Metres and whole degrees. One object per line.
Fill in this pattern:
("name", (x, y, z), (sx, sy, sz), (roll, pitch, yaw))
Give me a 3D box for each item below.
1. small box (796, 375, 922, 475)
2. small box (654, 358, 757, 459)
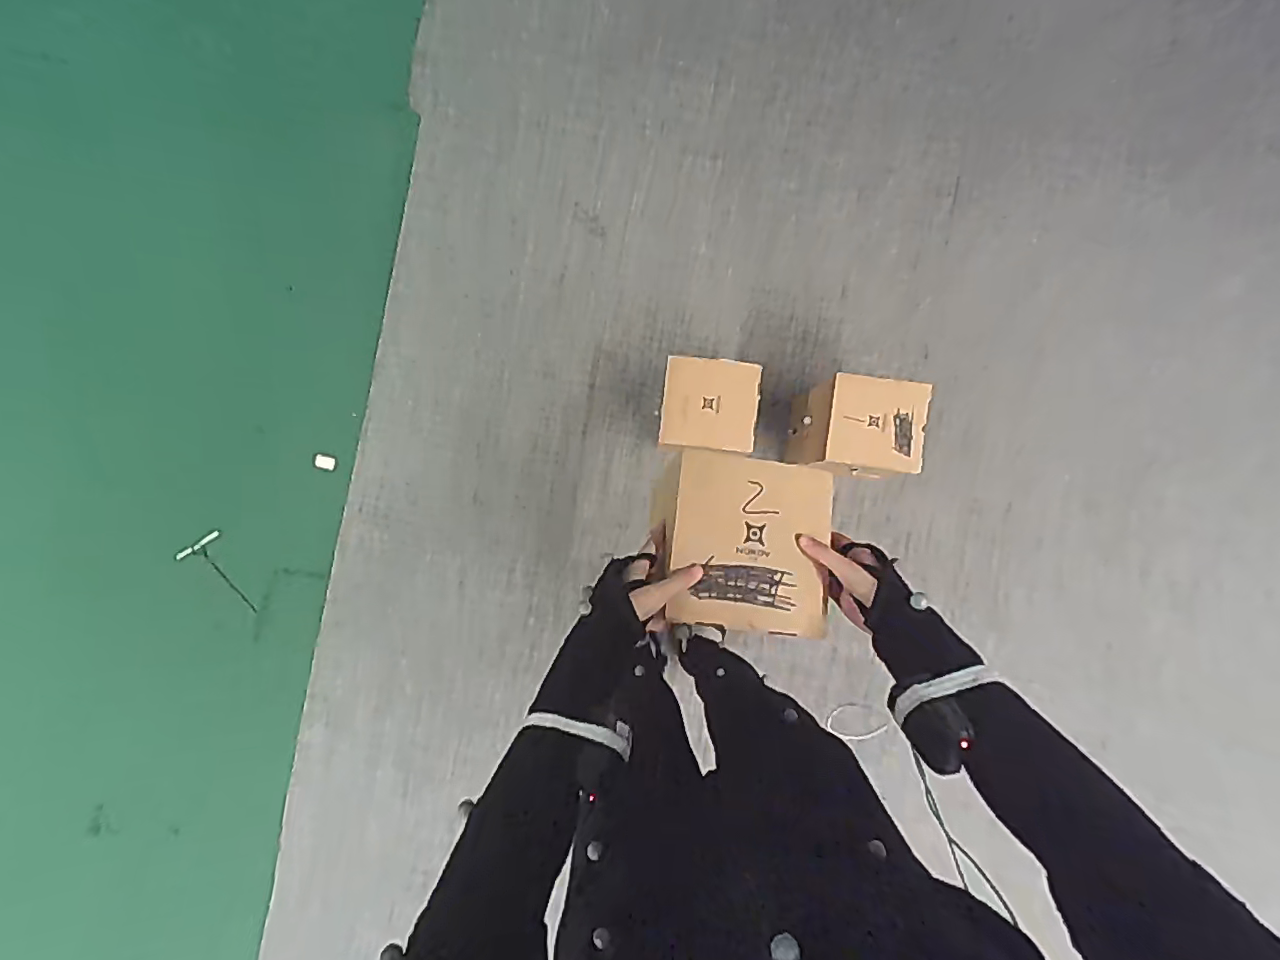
("small box", (0.425, -0.101, 1.074), (0.179, 0.176, 0.168), (8, 88, 3))
("small box", (0.125, -0.136, 1.086), (0.179, 0.176, 0.168), (7, 88, 3))
